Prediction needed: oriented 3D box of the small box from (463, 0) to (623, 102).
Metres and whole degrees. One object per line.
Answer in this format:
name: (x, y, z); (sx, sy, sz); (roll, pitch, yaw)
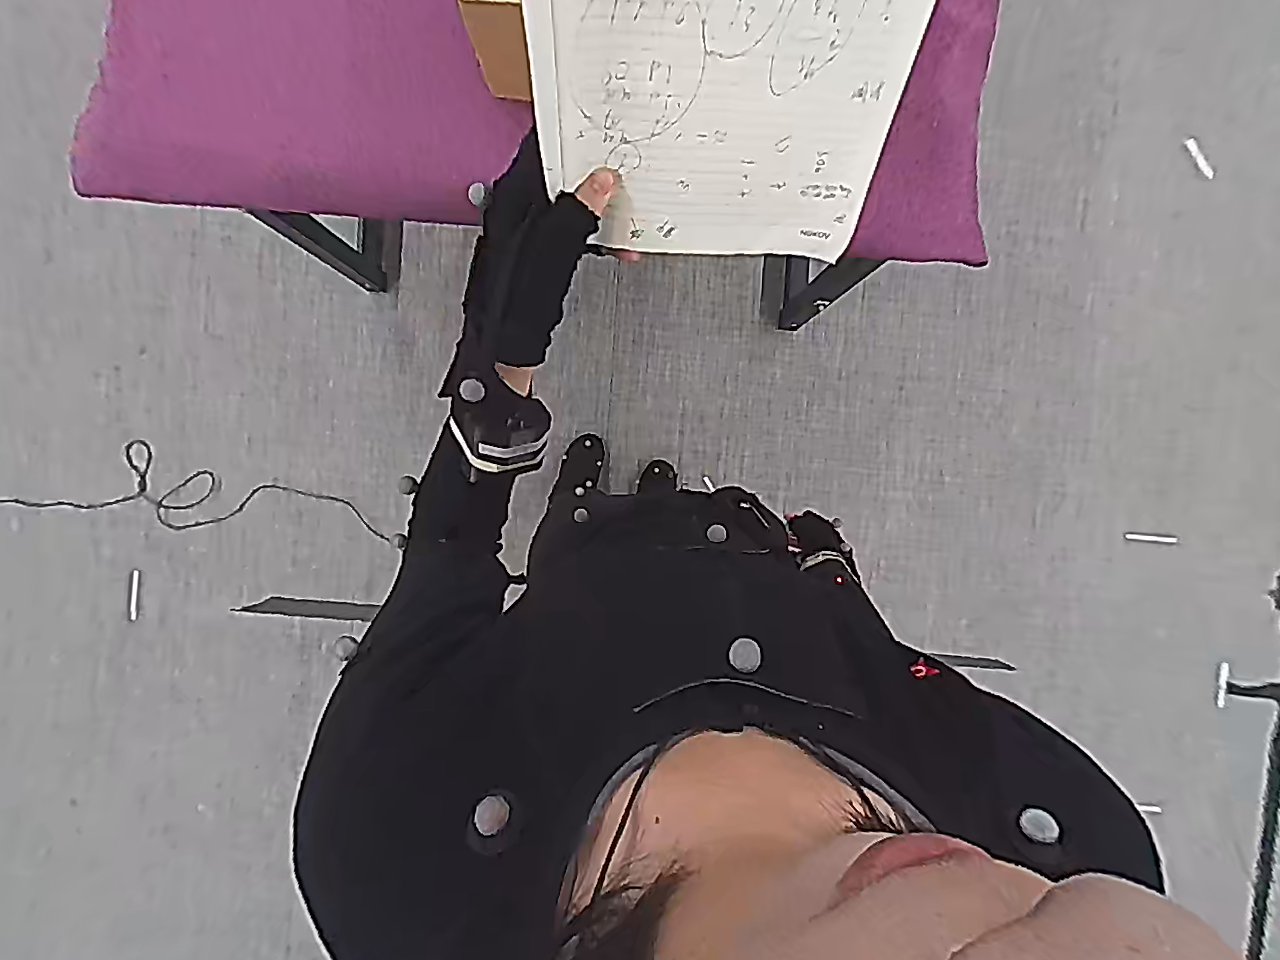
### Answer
small box: (-0.111, -0.612, 0.675); (0.179, 0.176, 0.168); (4, 91, -2)
